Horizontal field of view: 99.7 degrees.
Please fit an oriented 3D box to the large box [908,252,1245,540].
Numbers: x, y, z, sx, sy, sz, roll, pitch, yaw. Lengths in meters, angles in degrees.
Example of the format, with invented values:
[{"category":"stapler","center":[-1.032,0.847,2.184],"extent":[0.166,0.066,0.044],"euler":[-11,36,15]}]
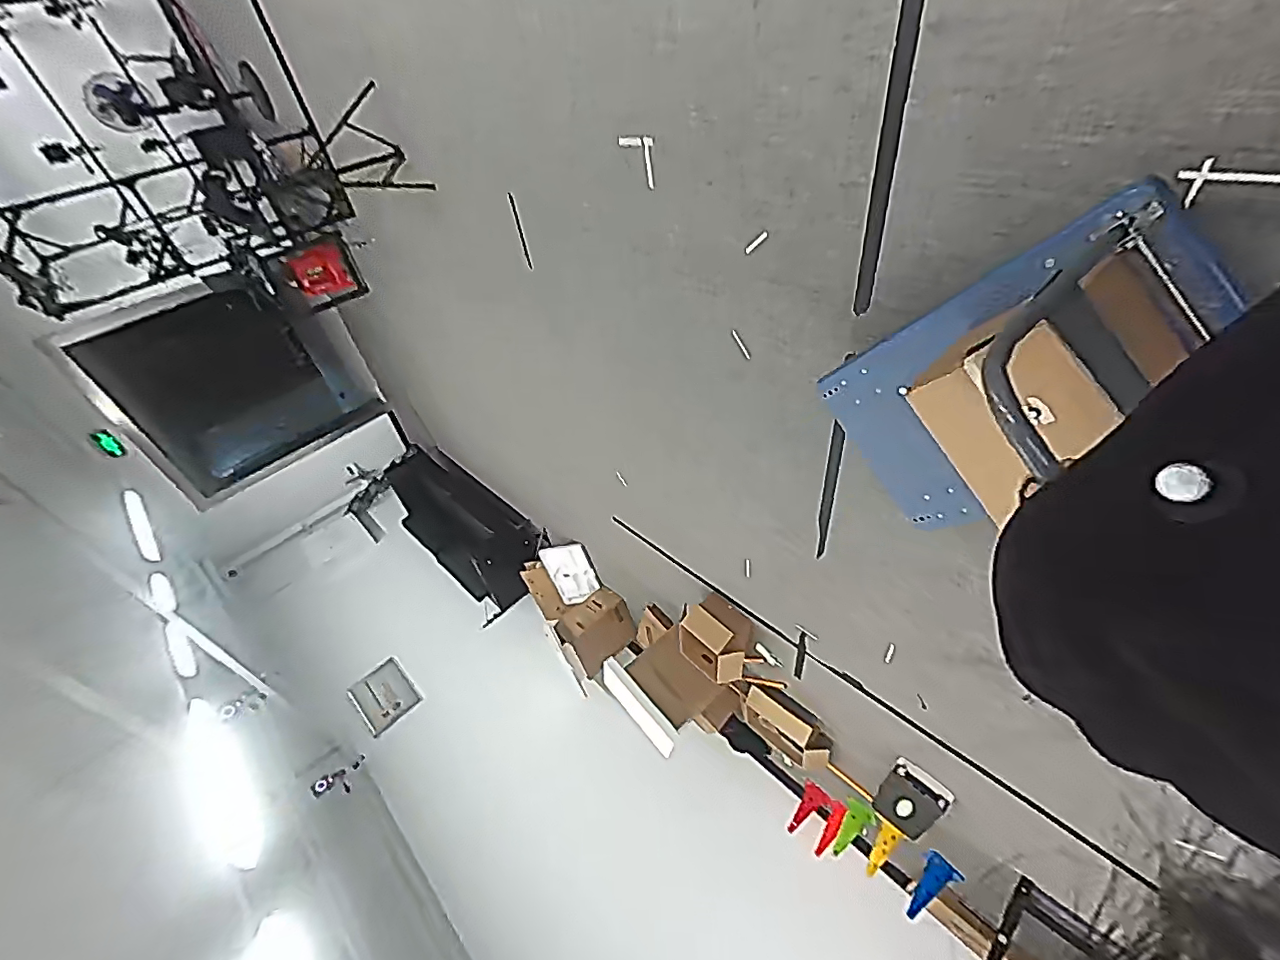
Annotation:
[{"category":"large box","center":[0.840,-0.149,1.061],"extent":[0.408,0.320,0.320],"euler":[54,153,0]}]
